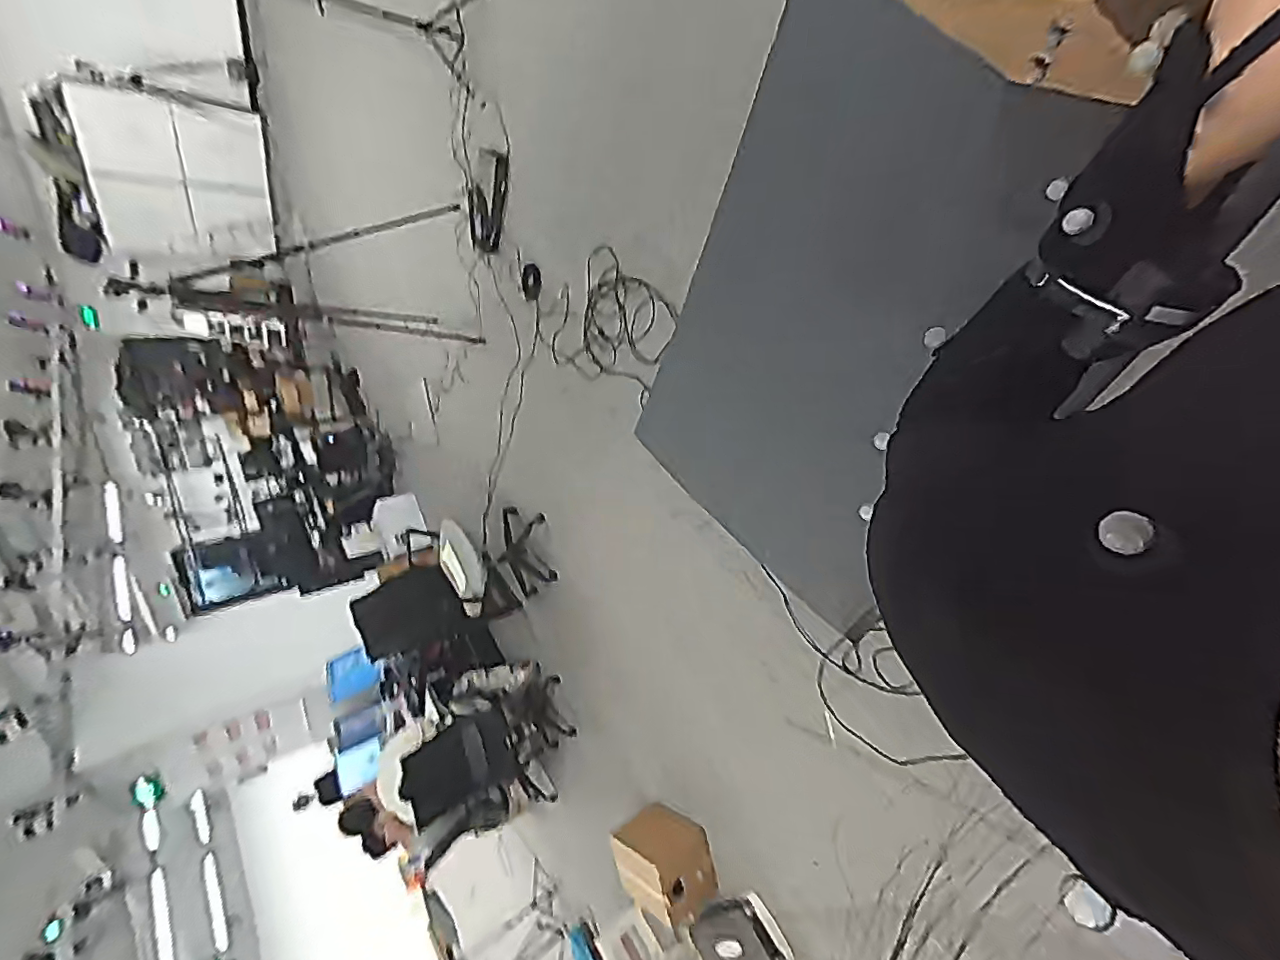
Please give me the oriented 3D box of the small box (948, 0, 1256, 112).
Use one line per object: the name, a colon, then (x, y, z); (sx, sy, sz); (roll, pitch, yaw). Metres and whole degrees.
small box: (0.425, -0.443, 0.468); (0.179, 0.176, 0.168); (46, 134, 33)
